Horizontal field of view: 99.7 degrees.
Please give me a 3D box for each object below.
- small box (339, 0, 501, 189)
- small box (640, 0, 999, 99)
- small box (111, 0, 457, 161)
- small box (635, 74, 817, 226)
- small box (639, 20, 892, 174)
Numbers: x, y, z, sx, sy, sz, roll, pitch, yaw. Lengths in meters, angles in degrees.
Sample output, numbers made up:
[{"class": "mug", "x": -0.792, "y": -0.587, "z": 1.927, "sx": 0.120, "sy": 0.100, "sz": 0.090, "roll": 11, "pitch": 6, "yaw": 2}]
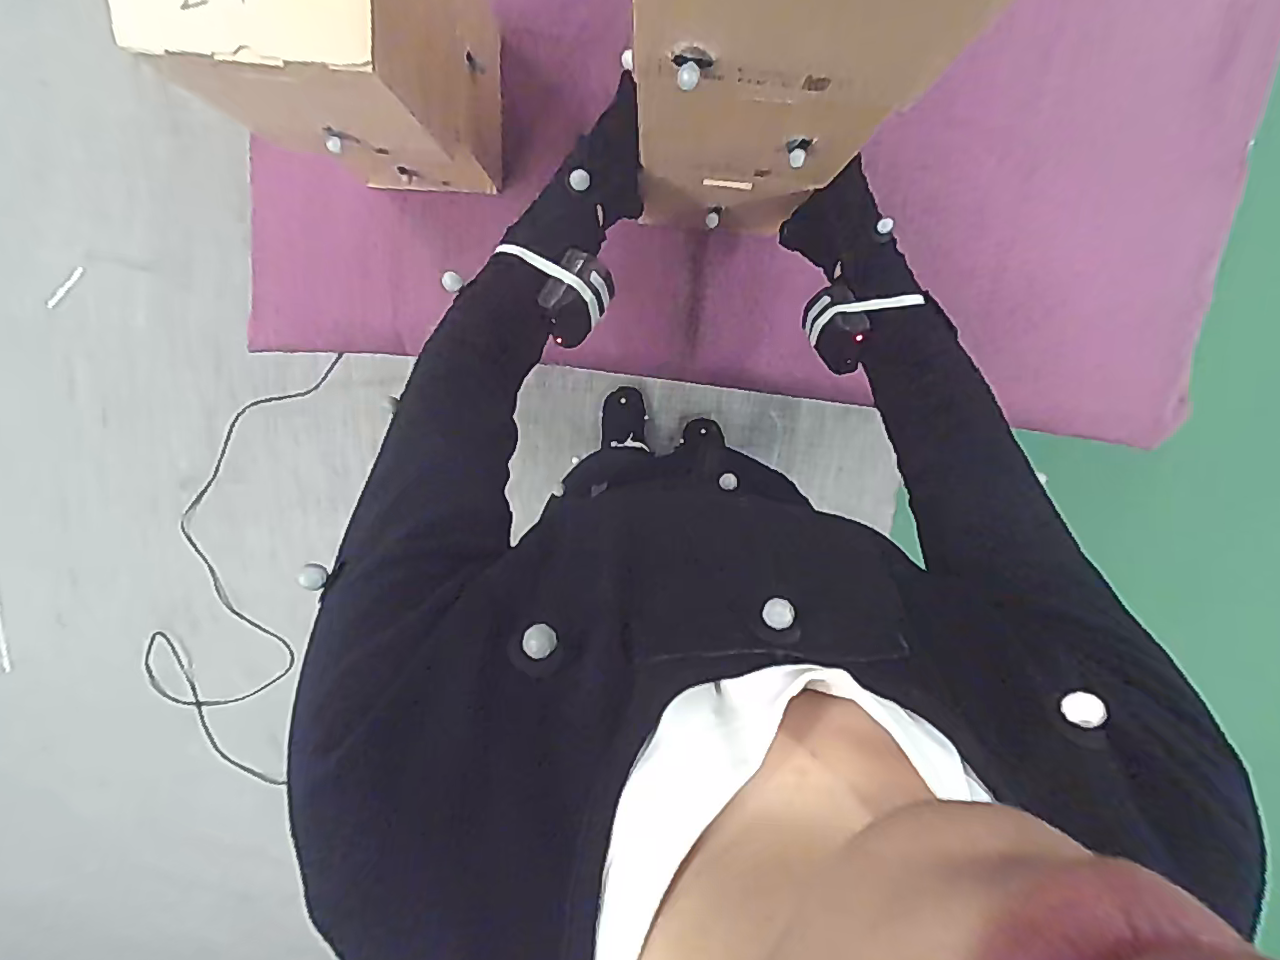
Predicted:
[{"class": "small box", "x": -0.246, "y": -0.429, "z": 0.563, "sx": 0.168, "sy": 0.176, "sz": 0.179, "roll": 2, "pitch": 102, "yaw": -2}, {"class": "small box", "x": 0.088, "y": -0.294, "z": 0.222, "sx": 0.168, "sy": 0.176, "sz": 0.179, "roll": 5, "pitch": 101, "yaw": -1}, {"class": "small box", "x": -0.246, "y": -0.372, "z": 0.407, "sx": 0.168, "sy": 0.176, "sz": 0.179, "roll": 4, "pitch": 103, "yaw": -1}, {"class": "small box", "x": 0.084, "y": -0.368, "z": 0.543, "sx": 0.168, "sy": 0.176, "sz": 0.179, "roll": 3, "pitch": 101, "yaw": 1}, {"class": "small box", "x": 0.090, "y": -0.330, "z": 0.365, "sx": 0.168, "sy": 0.176, "sz": 0.179, "roll": 5, "pitch": 101, "yaw": 0}]
